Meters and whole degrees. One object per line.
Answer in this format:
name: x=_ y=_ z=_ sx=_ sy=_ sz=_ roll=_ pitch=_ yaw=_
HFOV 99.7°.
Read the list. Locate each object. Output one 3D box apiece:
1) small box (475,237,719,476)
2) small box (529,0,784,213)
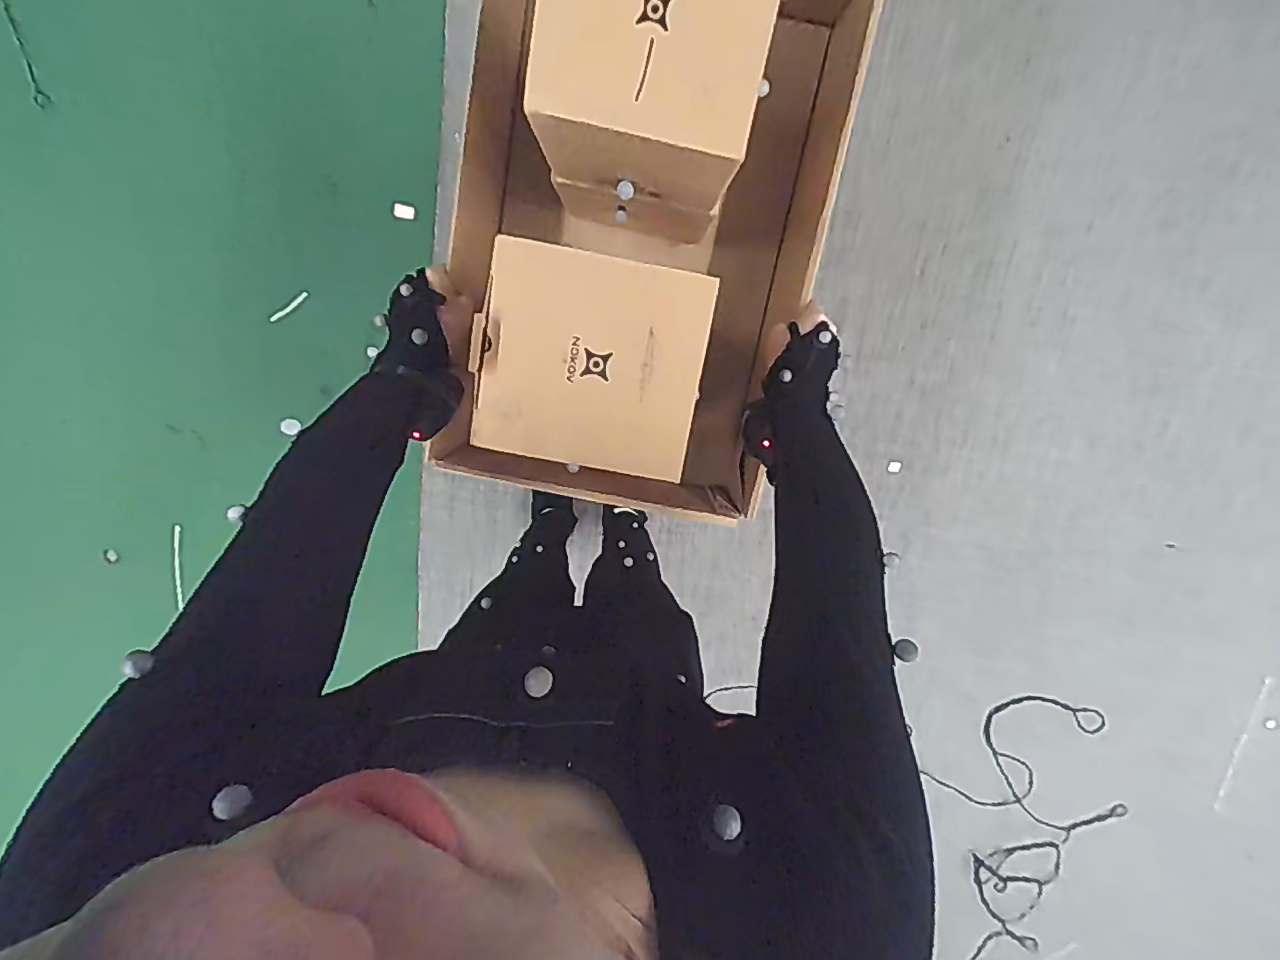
small box: x=-0.040 y=-0.112 z=0.515 sx=0.179 sy=0.176 sz=0.168 roll=10 pitch=103 yaw=-4
small box: x=0.014 y=-0.352 z=0.457 sx=0.168 sy=0.176 sz=0.179 roll=12 pitch=105 yaw=-5
